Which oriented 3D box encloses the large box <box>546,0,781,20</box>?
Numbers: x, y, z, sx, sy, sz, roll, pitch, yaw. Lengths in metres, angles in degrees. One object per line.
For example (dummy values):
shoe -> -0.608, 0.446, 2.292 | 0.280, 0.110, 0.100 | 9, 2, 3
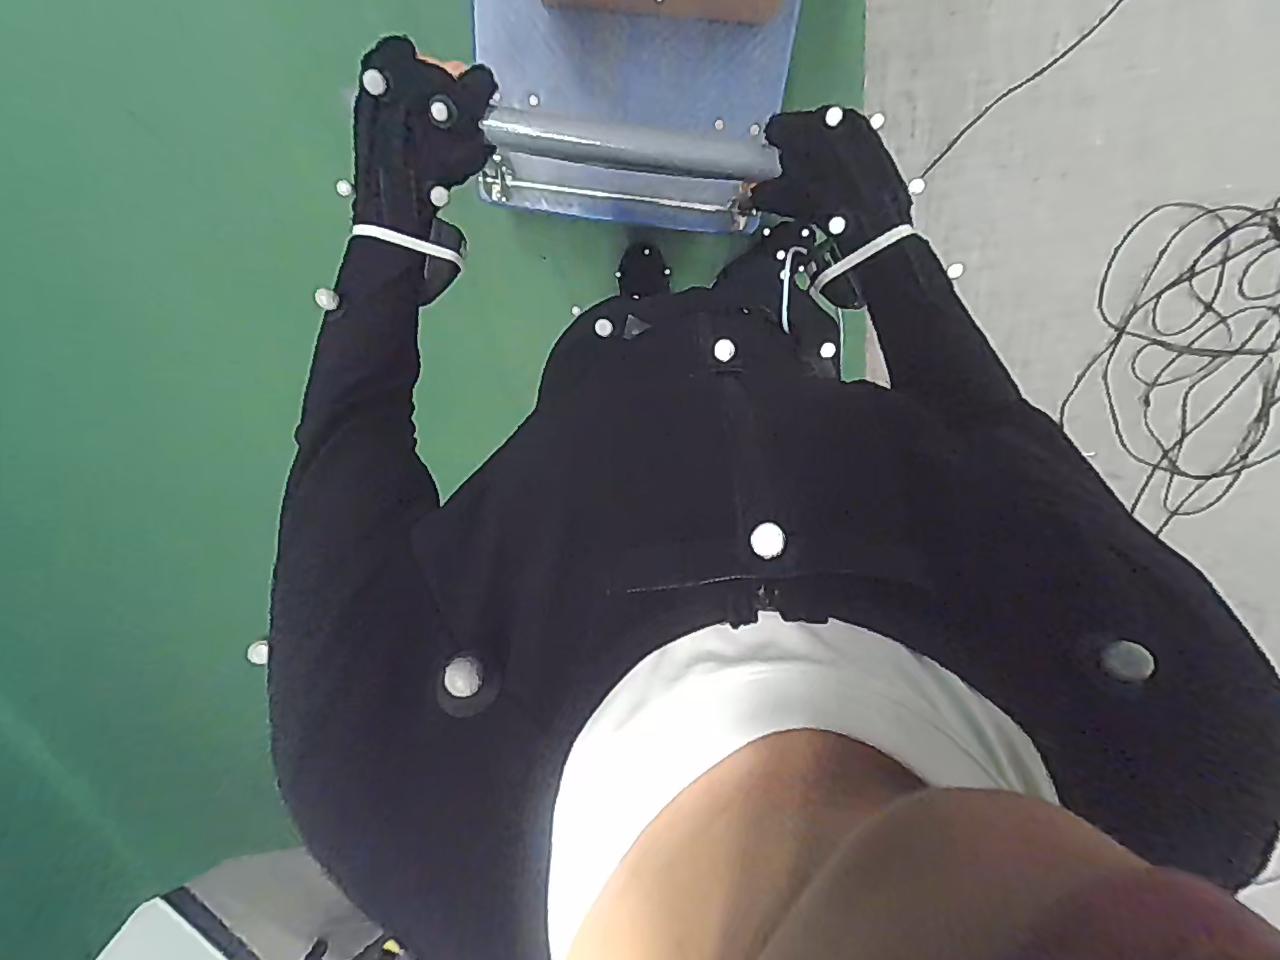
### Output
large box -> 0.040, -0.900, 0.771 | 0.408, 0.320, 0.320 | 3, 116, -1
